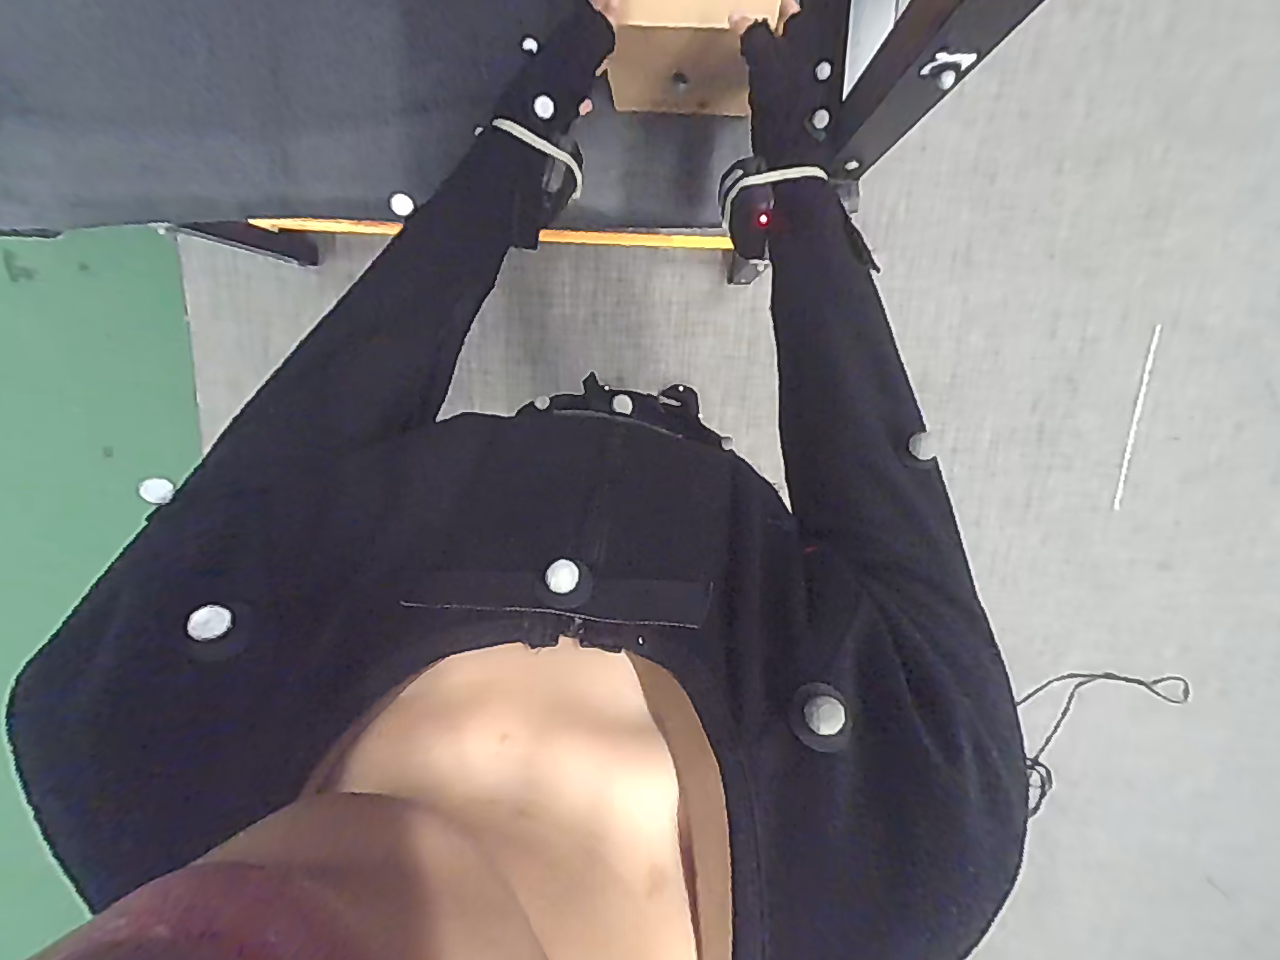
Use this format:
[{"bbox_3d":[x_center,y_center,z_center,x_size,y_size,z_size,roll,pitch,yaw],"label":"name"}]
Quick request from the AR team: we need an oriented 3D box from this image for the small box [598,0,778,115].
[{"bbox_3d":[0.053,-0.509,0.558,0.168,0.176,0.179,4,101,2],"label":"small box"}]
